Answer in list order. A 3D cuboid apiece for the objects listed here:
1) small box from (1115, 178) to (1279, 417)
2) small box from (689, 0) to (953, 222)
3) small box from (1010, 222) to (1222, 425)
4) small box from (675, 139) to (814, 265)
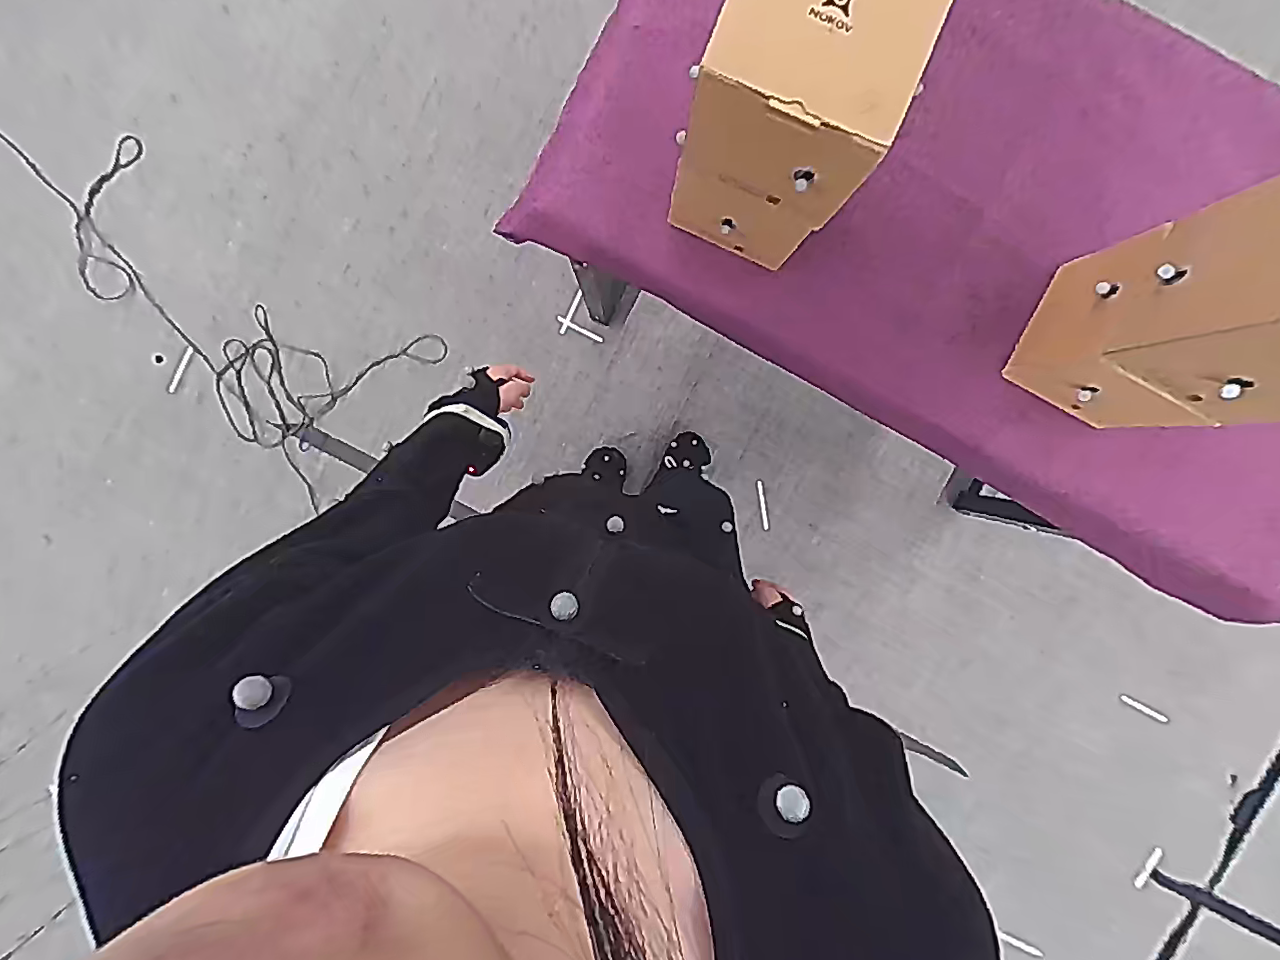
[{"bbox_3d":[0.627,-0.172,0.524,0.168,0.176,0.179,28,93,-3],"label":"small box"},{"bbox_3d":[0.152,-0.374,0.499,0.168,0.176,0.179,21,93,-4],"label":"small box"},{"bbox_3d":[0.623,-0.180,0.688,0.168,0.176,0.179,27,93,-2],"label":"small box"},{"bbox_3d":[0.150,-0.394,0.660,0.168,0.176,0.179,23,93,-3],"label":"small box"}]
